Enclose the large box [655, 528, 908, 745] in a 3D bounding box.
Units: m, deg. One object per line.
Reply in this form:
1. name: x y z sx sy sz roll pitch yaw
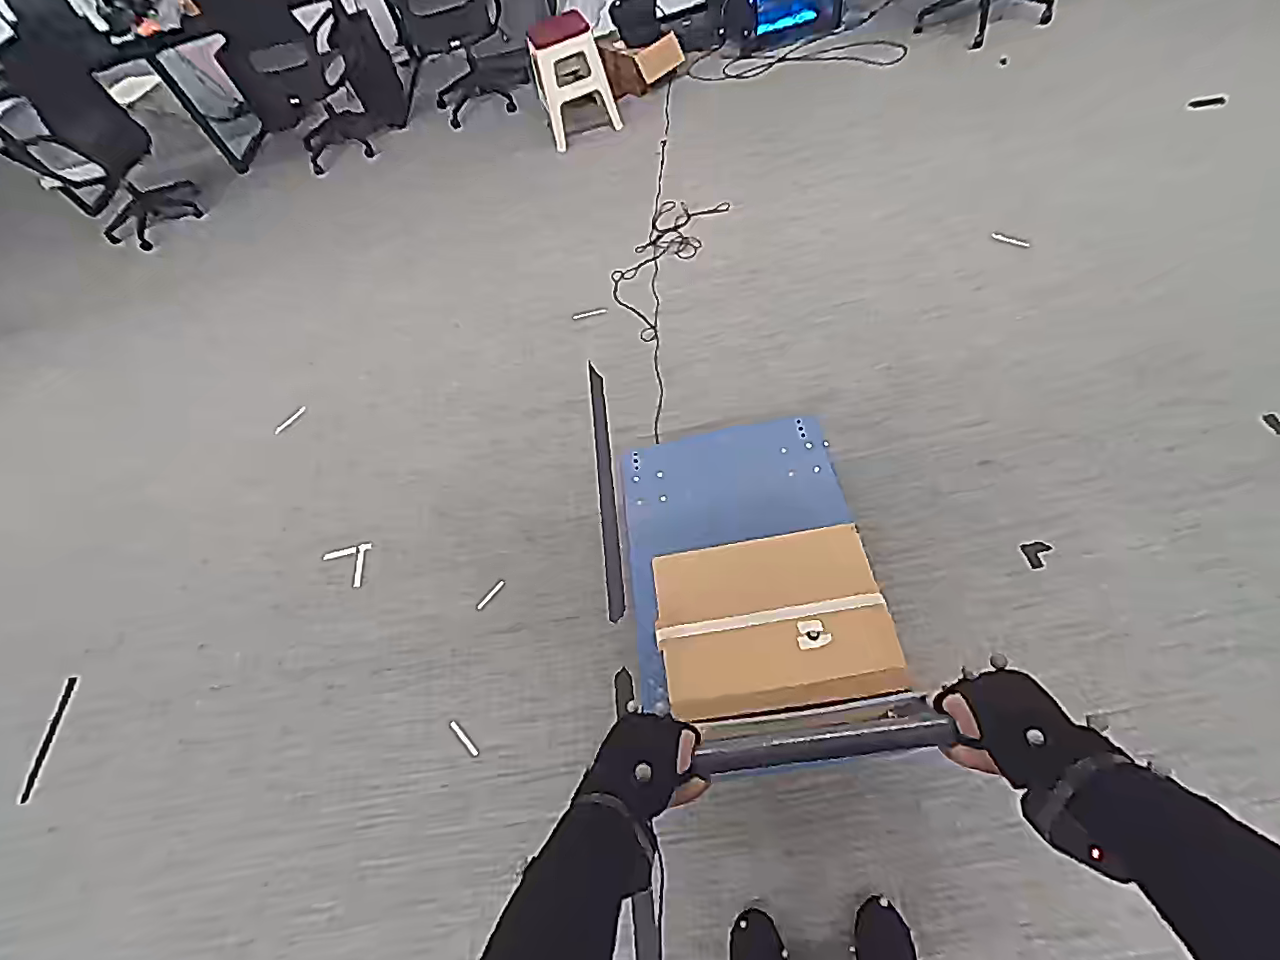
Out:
1. large box: 0.266 0.338 1.122 0.408 0.320 0.320 -11 58 5
